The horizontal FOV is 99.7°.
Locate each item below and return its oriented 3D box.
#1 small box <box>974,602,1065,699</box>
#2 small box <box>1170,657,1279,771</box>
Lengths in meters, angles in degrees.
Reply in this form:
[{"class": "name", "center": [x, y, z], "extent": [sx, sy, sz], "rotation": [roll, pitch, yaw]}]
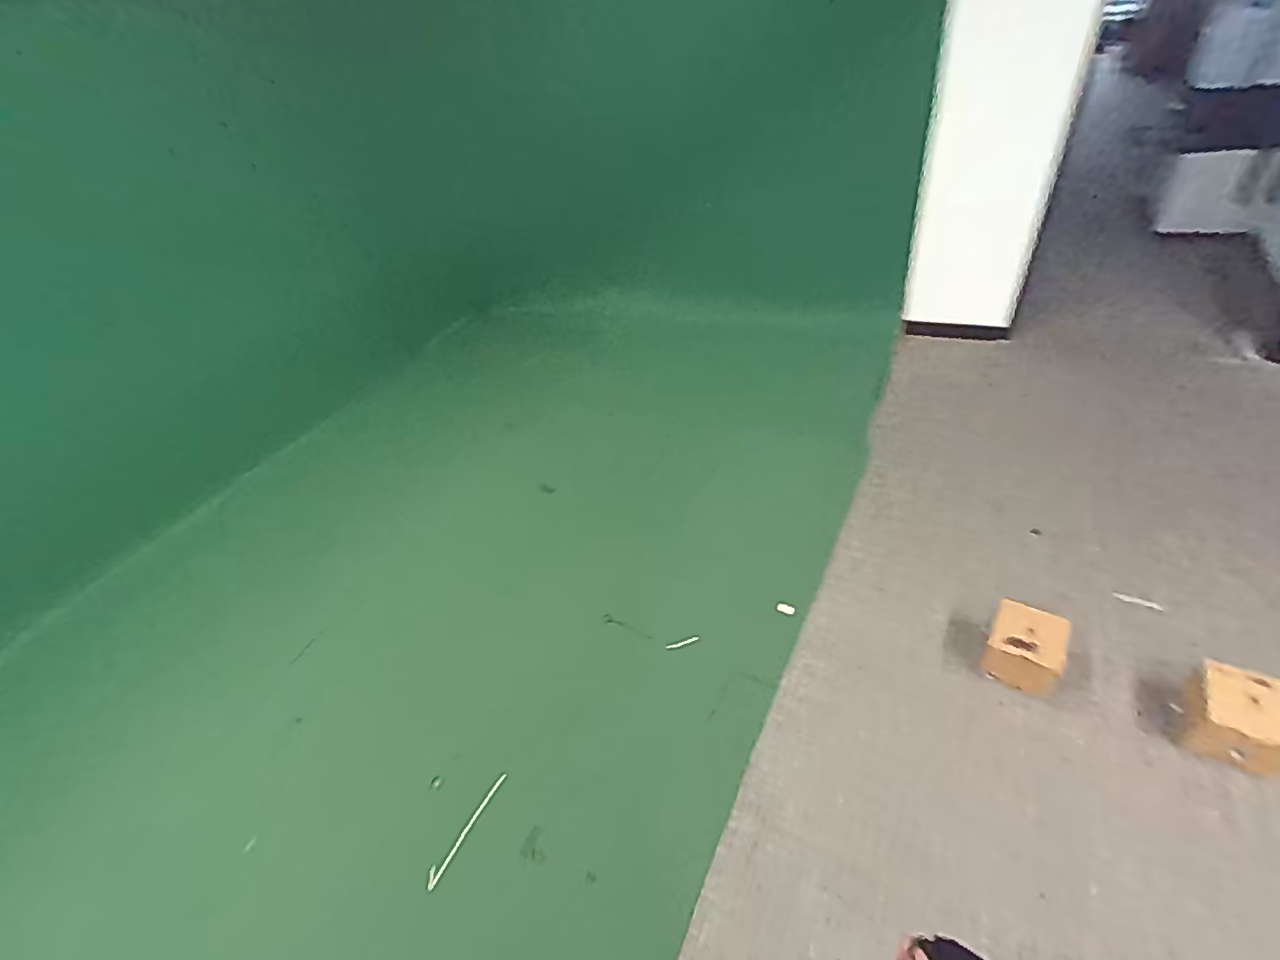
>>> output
[{"class": "small box", "center": [1.078, 0.489, 1.546], "extent": [0.168, 0.176, 0.179], "rotation": [19, 51, 30]}, {"class": "small box", "center": [1.446, 0.576, 1.326], "extent": [0.168, 0.176, 0.179], "rotation": [16, 51, 29]}]
